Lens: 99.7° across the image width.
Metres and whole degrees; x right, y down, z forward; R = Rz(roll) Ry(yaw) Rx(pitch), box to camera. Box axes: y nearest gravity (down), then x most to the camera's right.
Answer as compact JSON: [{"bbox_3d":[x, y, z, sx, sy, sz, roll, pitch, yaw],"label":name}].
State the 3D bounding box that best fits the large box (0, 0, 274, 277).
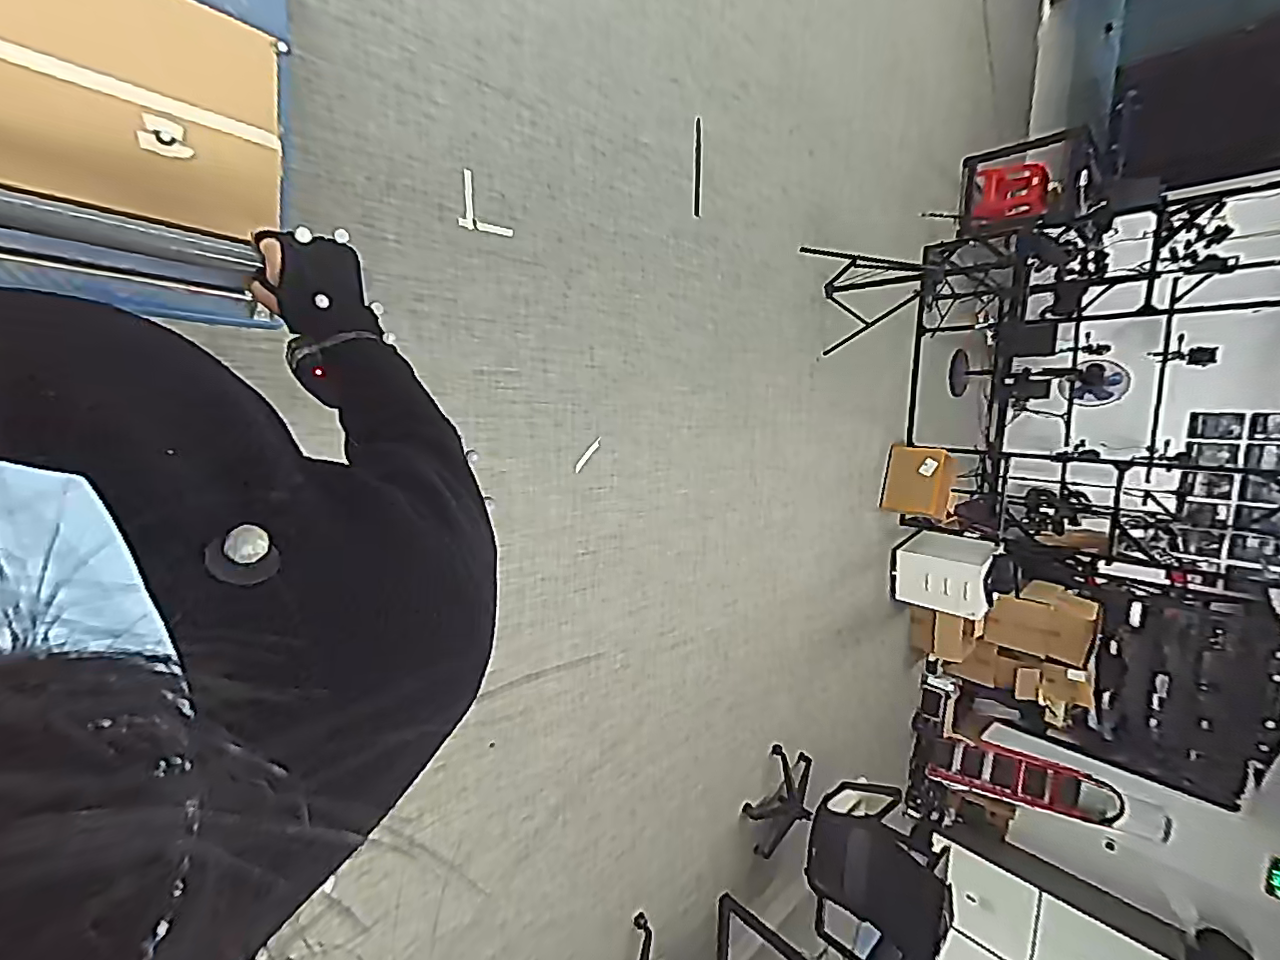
[{"bbox_3d":[-0.822,-0.524,0.808,0.408,0.320,0.320,-2,99,-46],"label":"large box"}]
